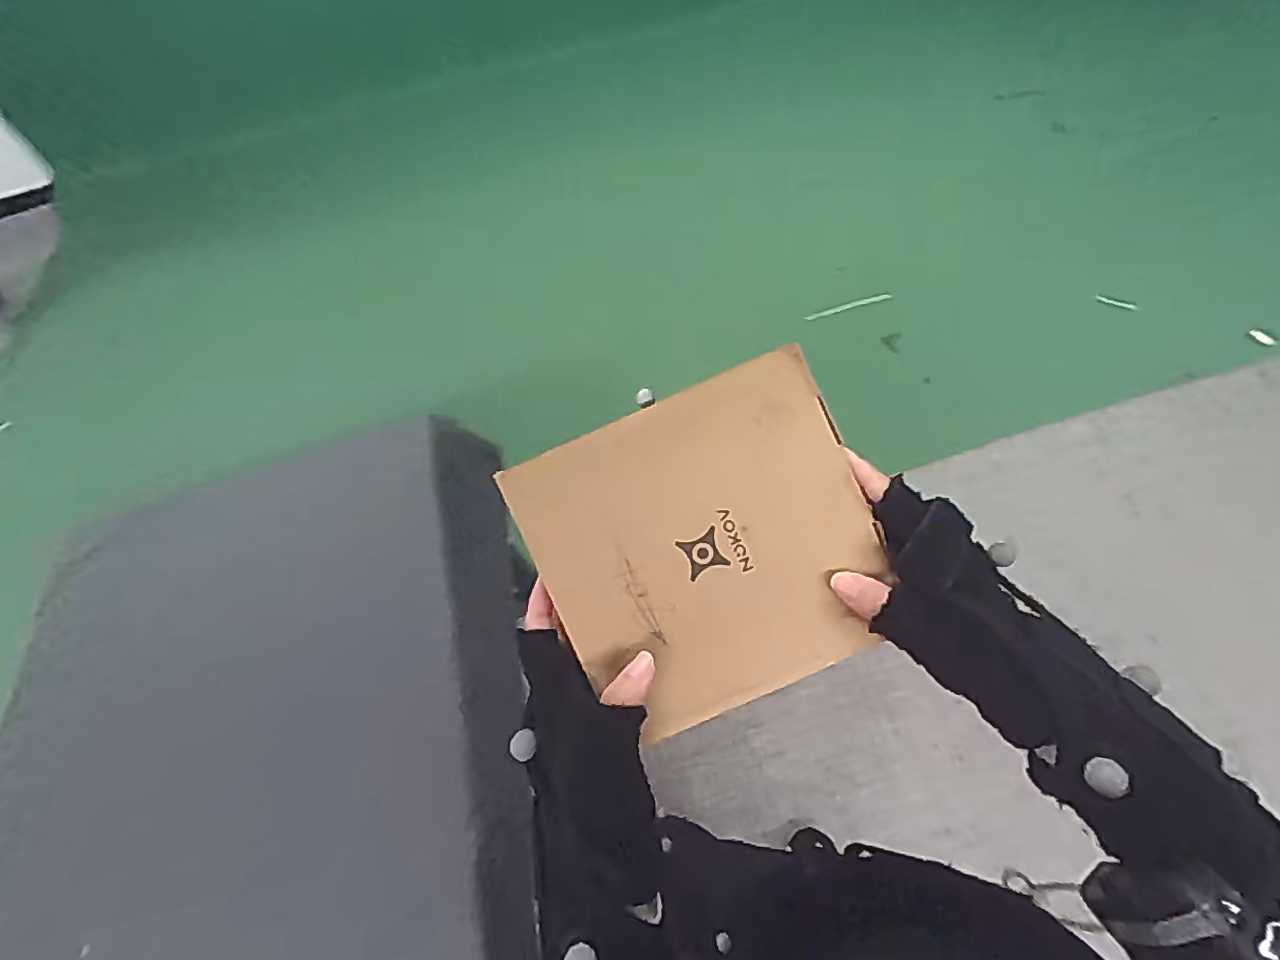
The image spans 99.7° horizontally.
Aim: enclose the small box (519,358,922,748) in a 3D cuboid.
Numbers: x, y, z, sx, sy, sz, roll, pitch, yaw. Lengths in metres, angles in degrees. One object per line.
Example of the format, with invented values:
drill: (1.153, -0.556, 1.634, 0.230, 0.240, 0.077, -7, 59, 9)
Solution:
small box: (0.045, 0.037, 0.371, 0.179, 0.176, 0.168, -24, 91, 3)
